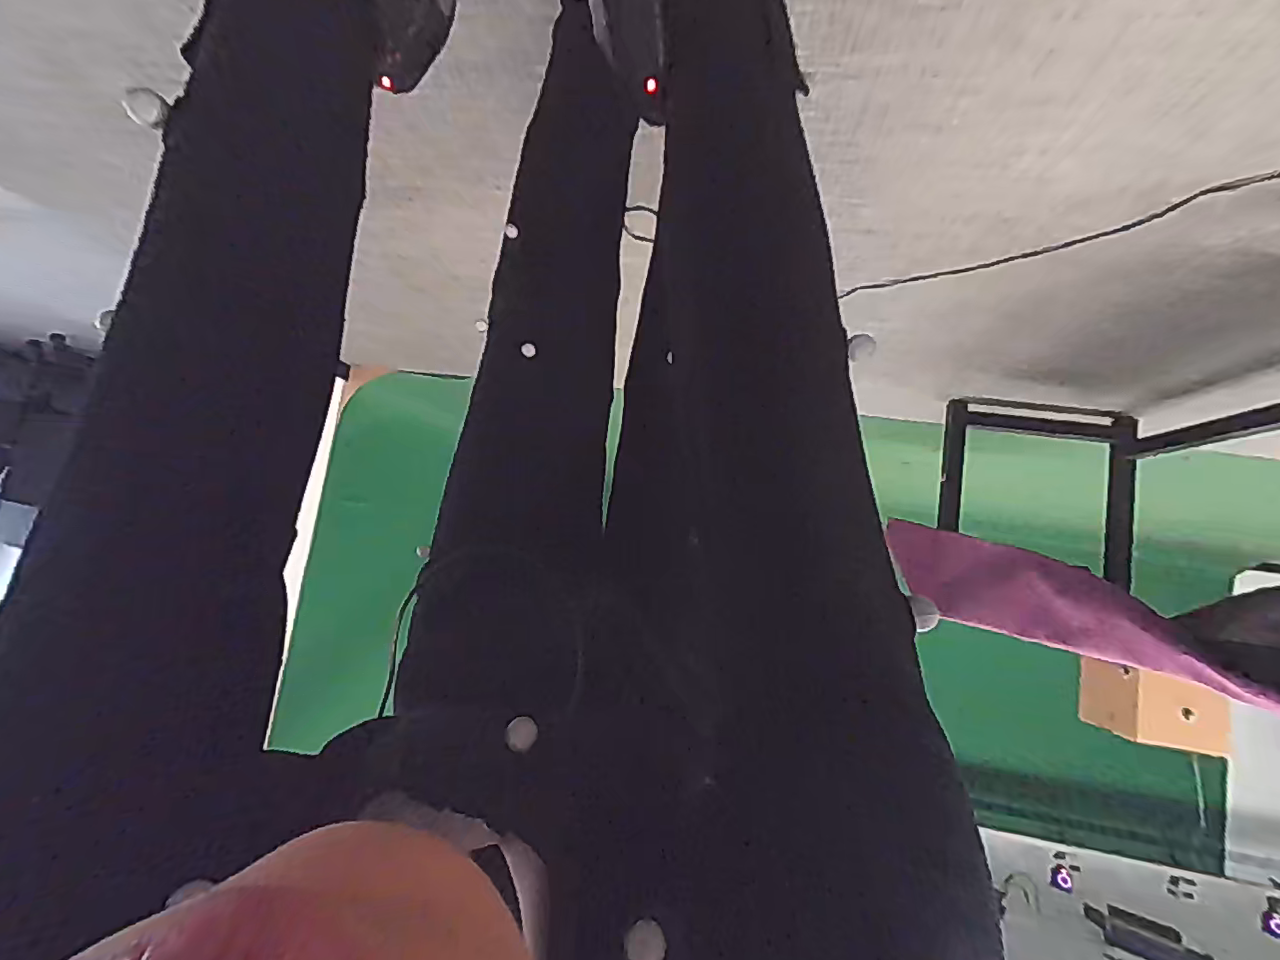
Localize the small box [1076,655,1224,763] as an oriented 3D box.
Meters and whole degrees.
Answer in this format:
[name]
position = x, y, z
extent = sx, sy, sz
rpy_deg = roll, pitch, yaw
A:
[small box]
position = 1.097, 0.485, 1.174
extent = 0.179, 0.176, 0.168
rpy_deg = 7, 172, 6
